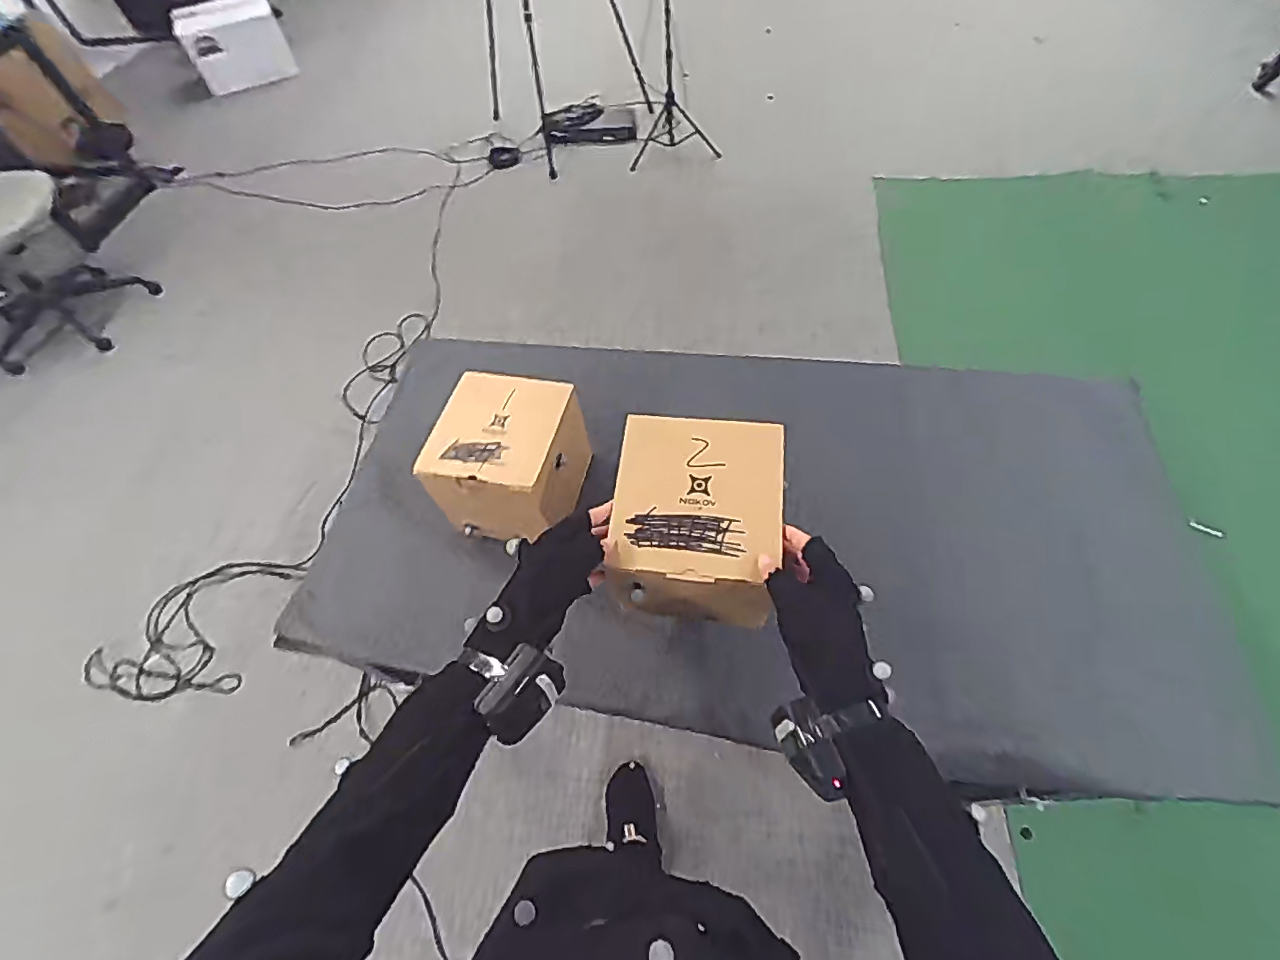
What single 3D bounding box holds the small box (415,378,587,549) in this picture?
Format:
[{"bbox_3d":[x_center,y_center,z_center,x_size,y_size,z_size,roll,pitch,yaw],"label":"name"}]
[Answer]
[{"bbox_3d":[-0.183,-0.020,0.780,0.168,0.176,0.179,9,57,11],"label":"small box"}]
